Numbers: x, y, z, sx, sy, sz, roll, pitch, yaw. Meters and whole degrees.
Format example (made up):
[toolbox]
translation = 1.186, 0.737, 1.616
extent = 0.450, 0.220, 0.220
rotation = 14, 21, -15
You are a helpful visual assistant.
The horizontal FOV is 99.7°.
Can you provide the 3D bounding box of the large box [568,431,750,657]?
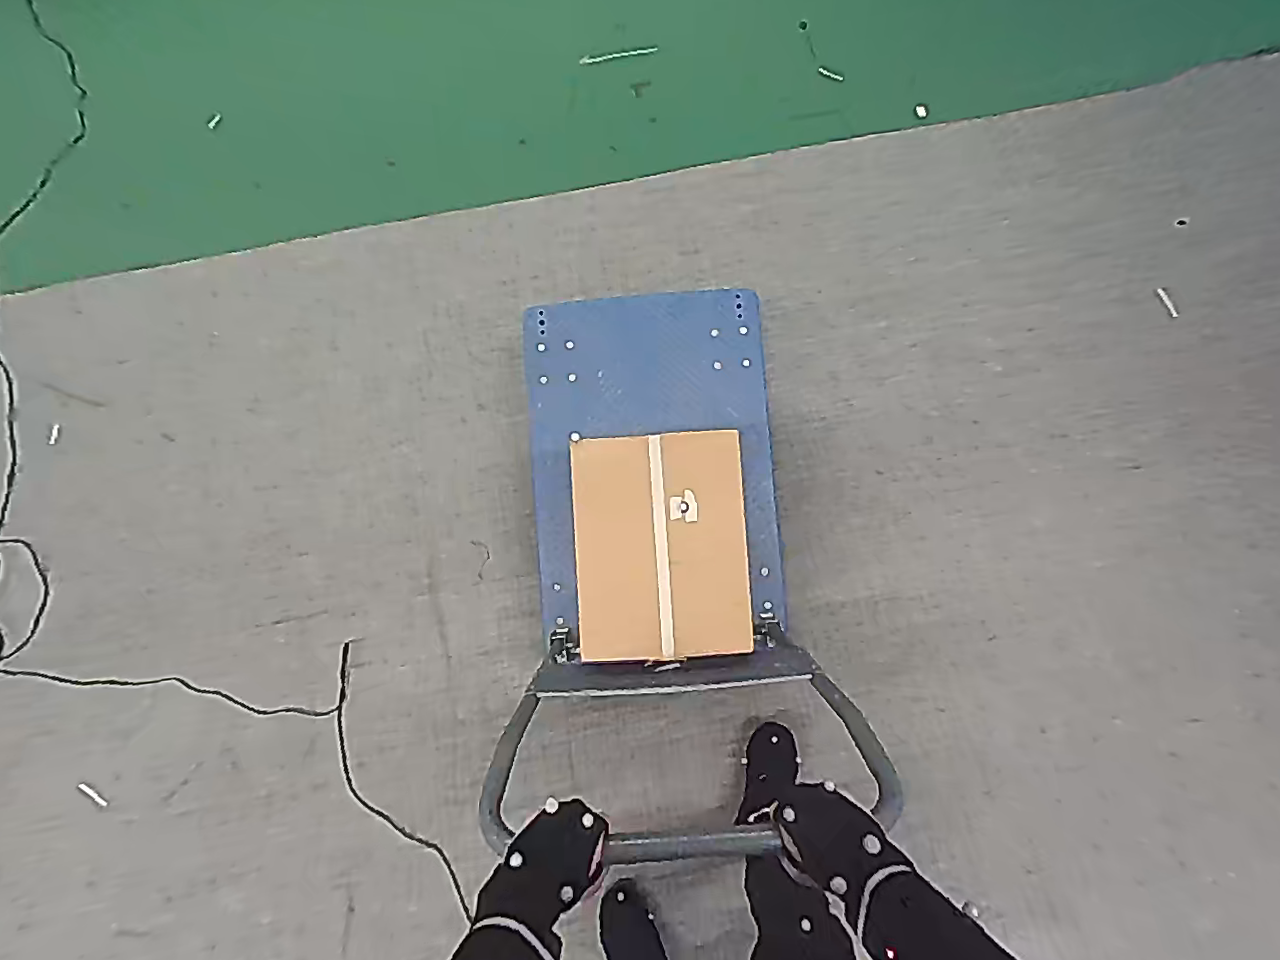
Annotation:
[large box]
translation = 0.038, 0.131, 1.153
extent = 0.320, 0.320, 0.408
rotation = -4, 85, 1
